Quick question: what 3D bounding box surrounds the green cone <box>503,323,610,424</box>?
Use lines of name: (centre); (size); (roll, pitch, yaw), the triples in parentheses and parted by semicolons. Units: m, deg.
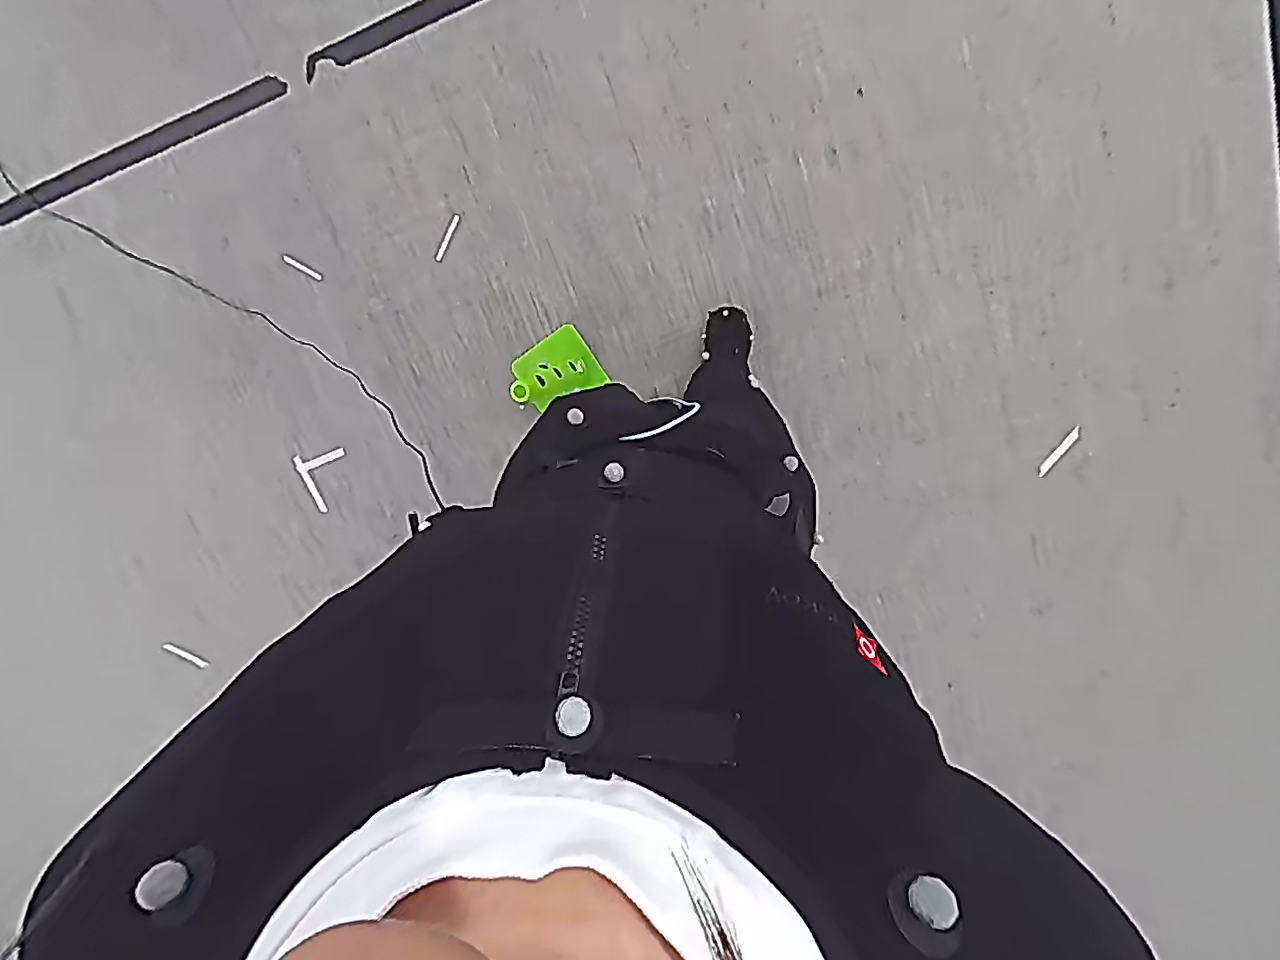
green cone: (-0.222, -0.223, 1.214); (0.202, 0.368, 0.200); (-32, 99, 14)
